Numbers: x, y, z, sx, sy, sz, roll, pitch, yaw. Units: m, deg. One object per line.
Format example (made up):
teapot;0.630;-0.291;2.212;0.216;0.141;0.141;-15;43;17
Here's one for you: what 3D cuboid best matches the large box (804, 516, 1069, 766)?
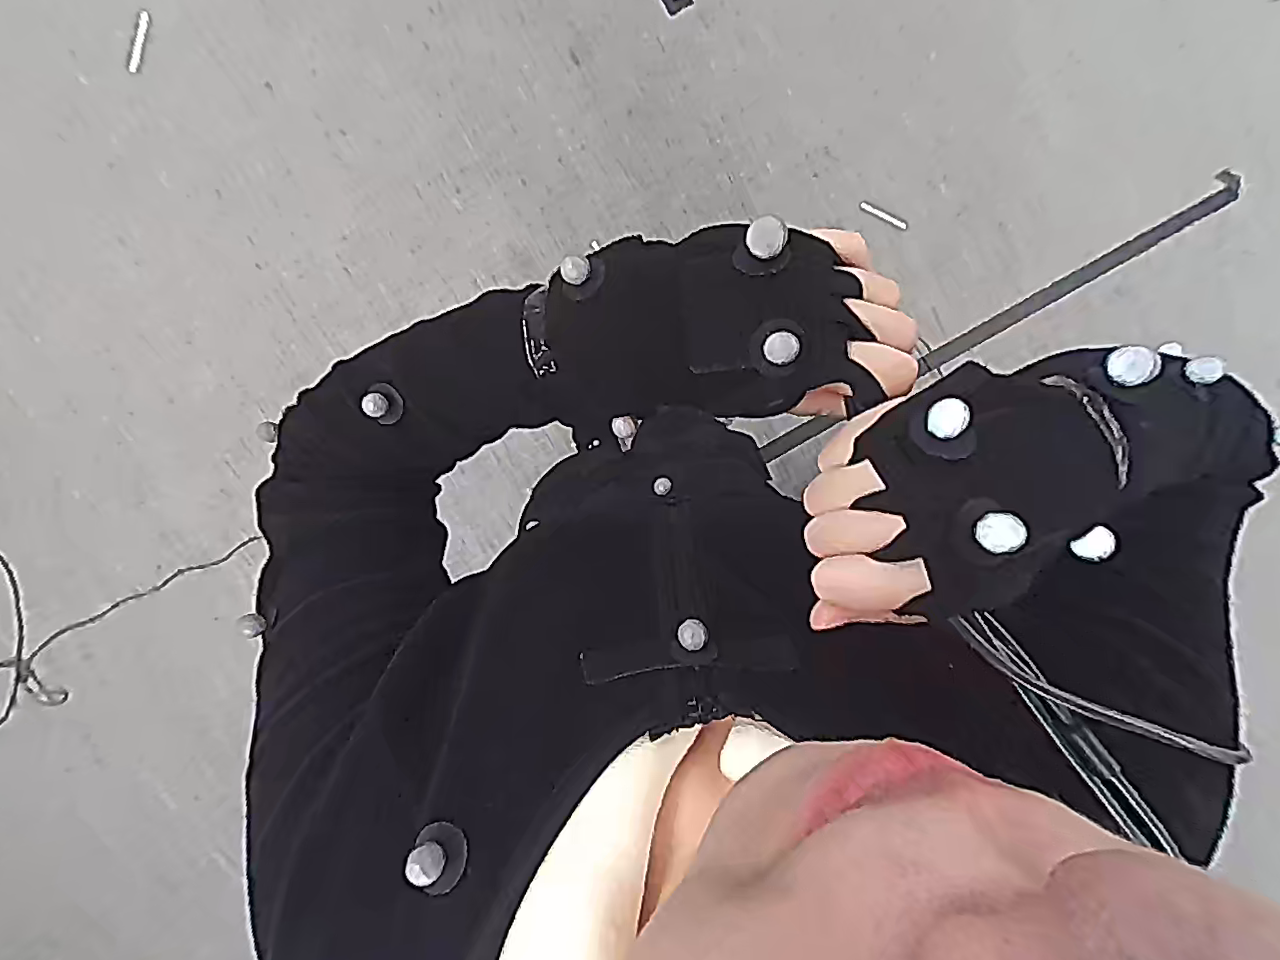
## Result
large box;0.667;0.352;1.273;0.320;0.320;0.408;-38;100;2
